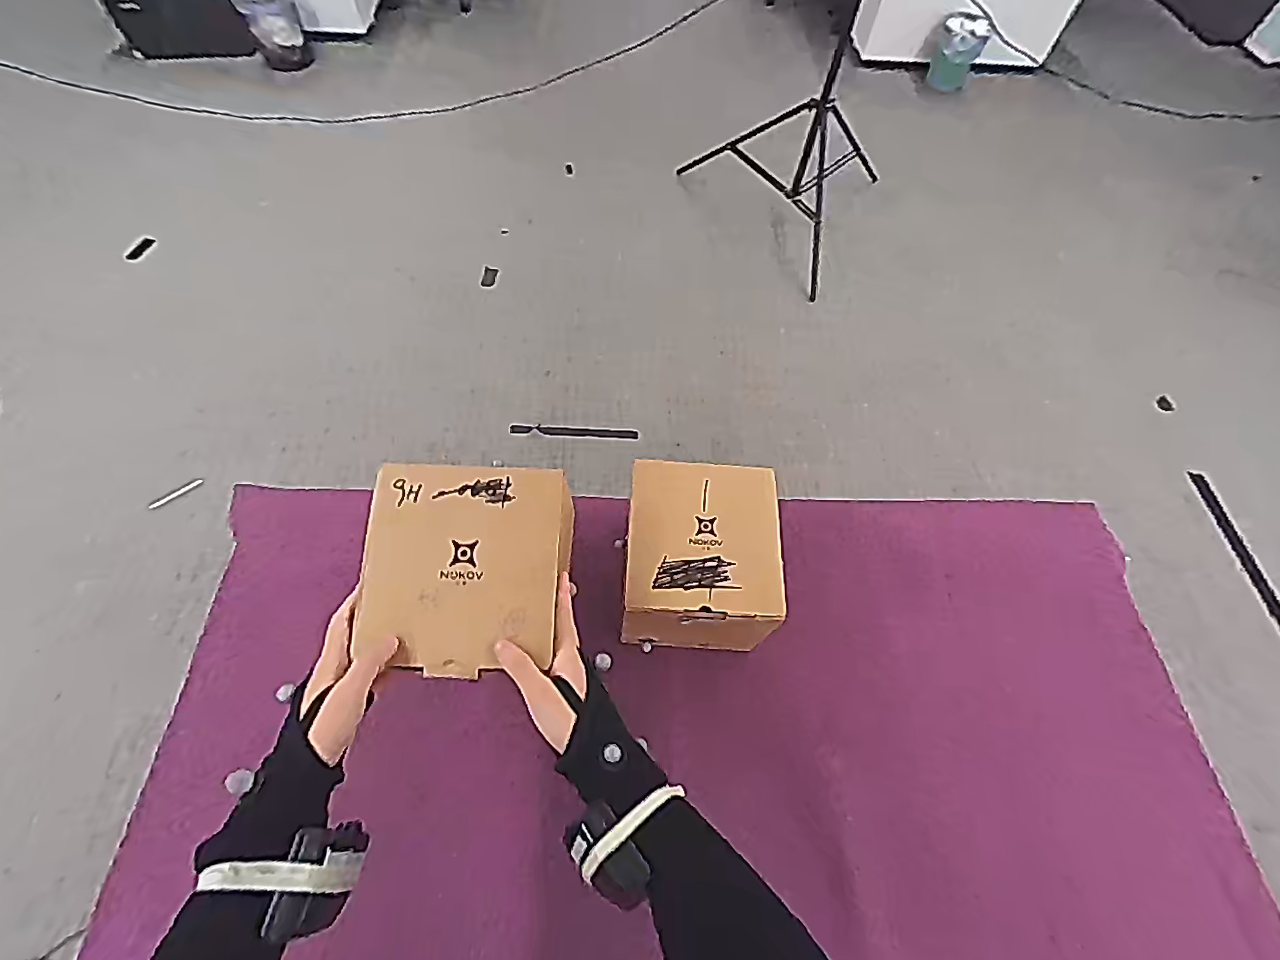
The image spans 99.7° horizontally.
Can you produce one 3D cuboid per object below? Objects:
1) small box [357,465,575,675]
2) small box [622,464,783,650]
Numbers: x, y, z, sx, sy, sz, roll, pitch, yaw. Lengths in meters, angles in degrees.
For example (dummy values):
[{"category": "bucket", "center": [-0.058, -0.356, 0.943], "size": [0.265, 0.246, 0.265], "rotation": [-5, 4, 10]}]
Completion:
[{"category": "small box", "center": [-0.155, 0.093, 0.544], "size": [0.168, 0.176, 0.179], "rotation": [3, 75, -4]}, {"category": "small box", "center": [0.066, 0.101, 0.653], "size": [0.168, 0.176, 0.179], "rotation": [4, 61, -1]}]
